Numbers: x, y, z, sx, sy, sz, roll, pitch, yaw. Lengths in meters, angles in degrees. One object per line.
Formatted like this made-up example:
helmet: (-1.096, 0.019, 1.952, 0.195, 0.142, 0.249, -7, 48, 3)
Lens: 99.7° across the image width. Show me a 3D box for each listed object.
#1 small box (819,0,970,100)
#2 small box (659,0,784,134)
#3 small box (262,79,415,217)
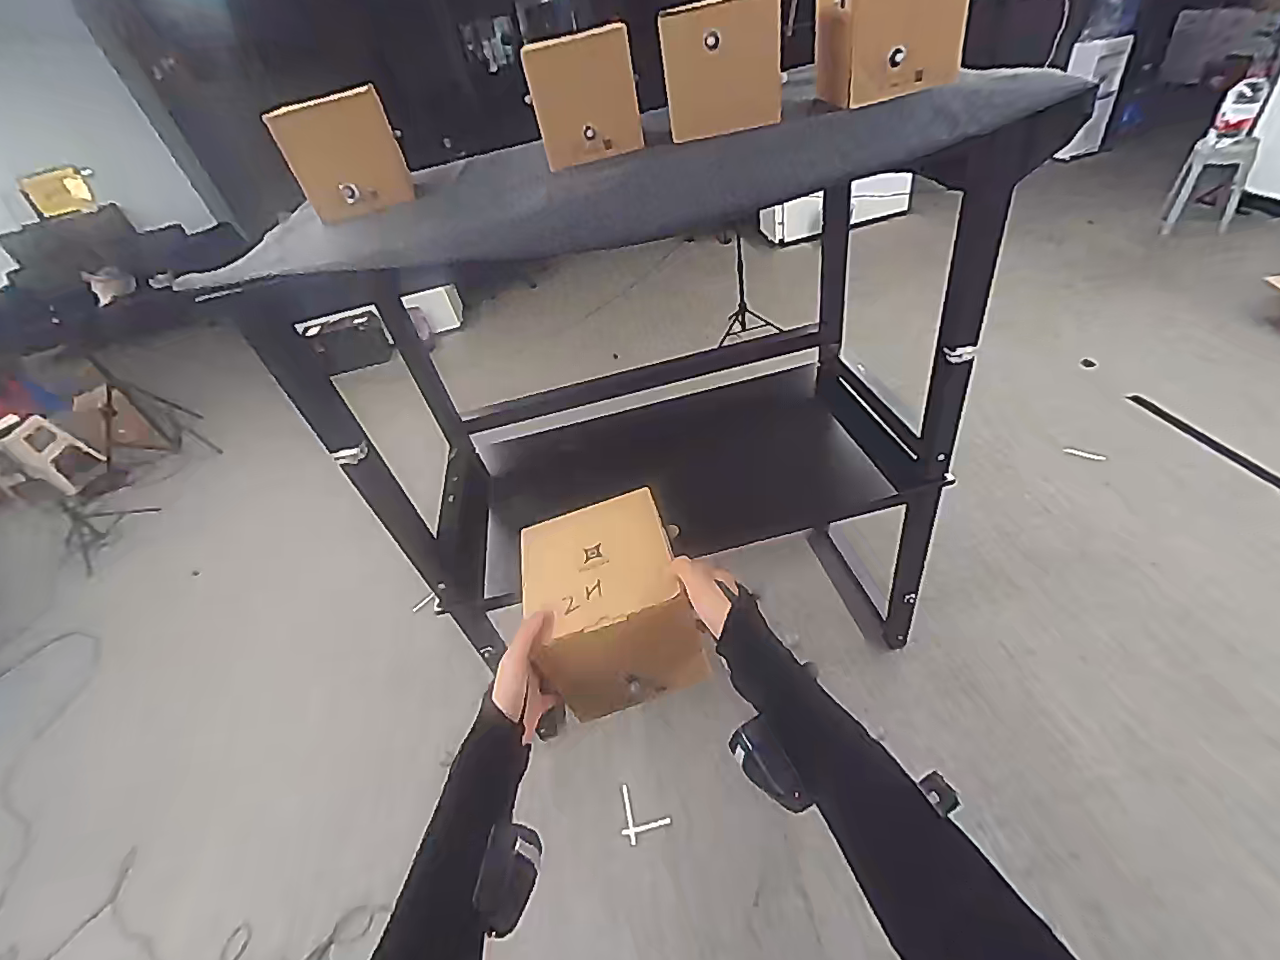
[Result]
small box: (0.382, -0.708, 0.834, 0.168, 0.176, 0.179, -11, 41, 4)
small box: (0.136, -0.680, 0.874, 0.179, 0.176, 0.168, -3, 42, 12)
small box: (-0.513, -0.581, 0.949, 0.168, 0.176, 0.179, -21, 42, -7)
